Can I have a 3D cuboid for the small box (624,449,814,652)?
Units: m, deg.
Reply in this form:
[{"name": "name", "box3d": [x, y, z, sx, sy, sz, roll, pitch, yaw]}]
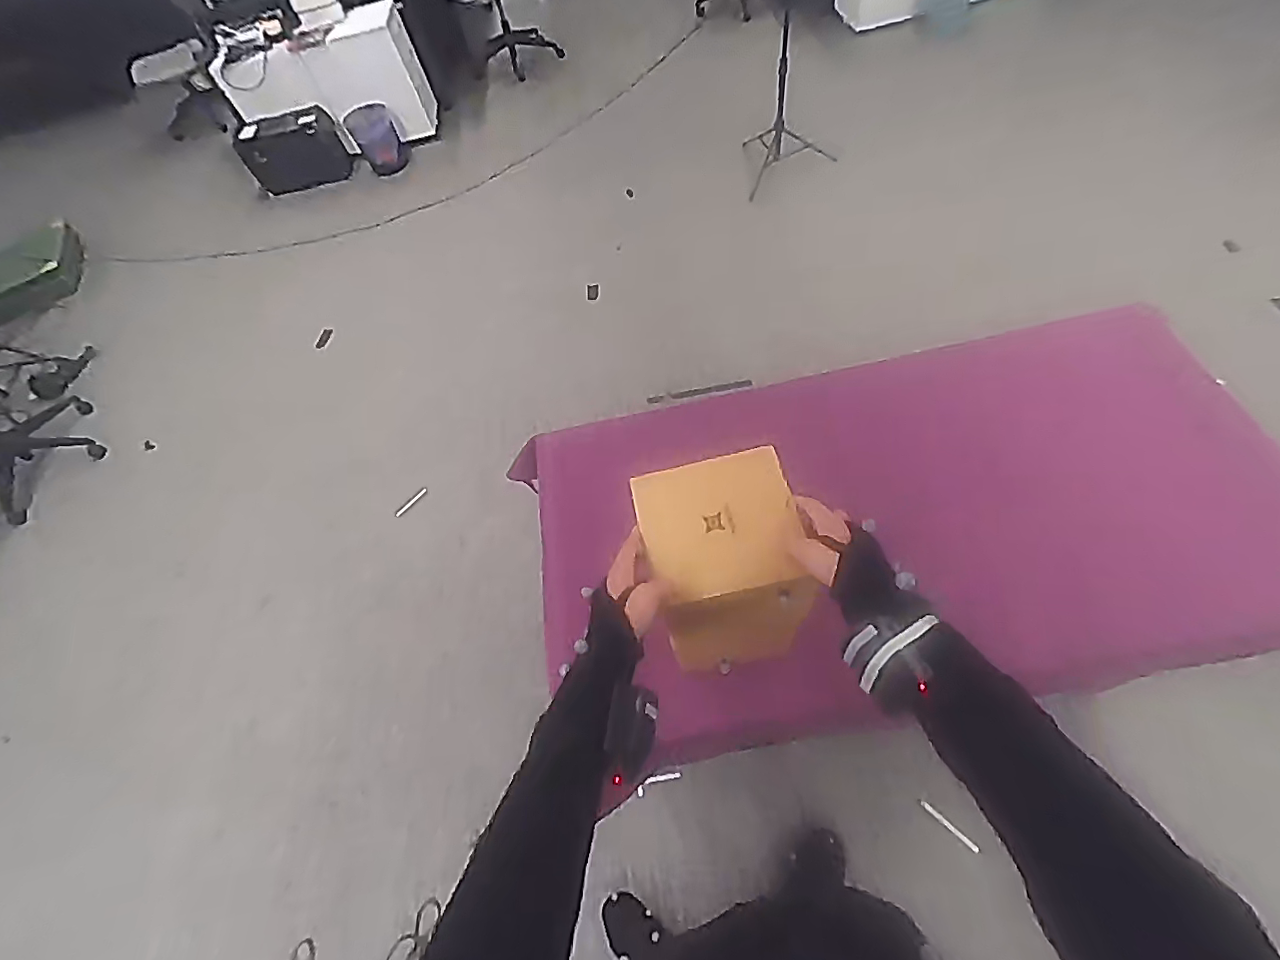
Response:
[{"name": "small box", "box3d": [0.092, 0.093, 0.647, 0.179, 0.176, 0.168, -14, 57, 3]}]
